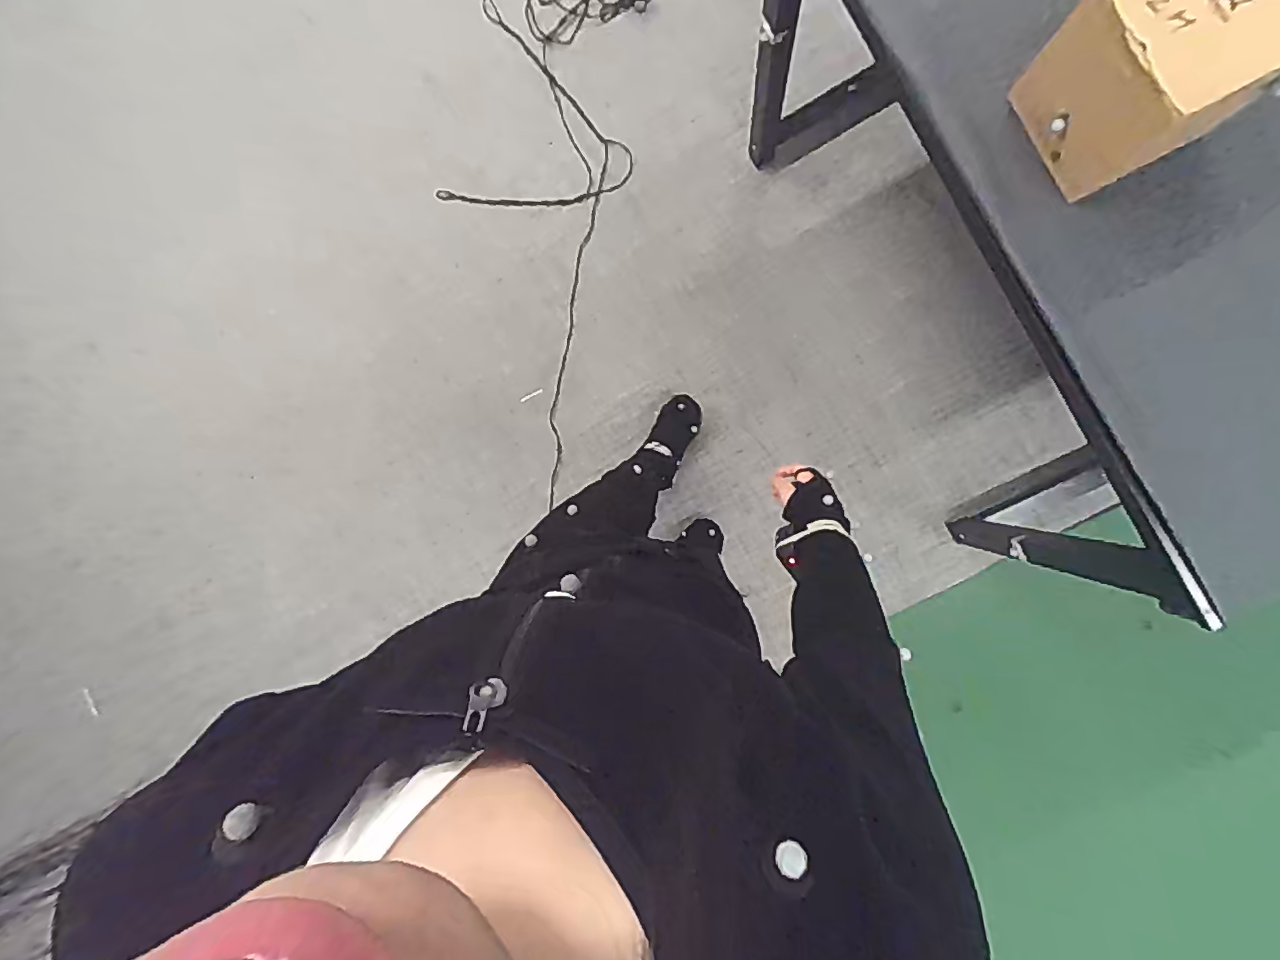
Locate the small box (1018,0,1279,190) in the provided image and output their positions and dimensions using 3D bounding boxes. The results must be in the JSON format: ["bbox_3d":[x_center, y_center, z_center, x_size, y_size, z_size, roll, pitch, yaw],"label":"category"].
[{"bbox_3d":[0.573,-0.465,0.591,0.179,0.176,0.168,-27,87,7],"label":"small box"}]
